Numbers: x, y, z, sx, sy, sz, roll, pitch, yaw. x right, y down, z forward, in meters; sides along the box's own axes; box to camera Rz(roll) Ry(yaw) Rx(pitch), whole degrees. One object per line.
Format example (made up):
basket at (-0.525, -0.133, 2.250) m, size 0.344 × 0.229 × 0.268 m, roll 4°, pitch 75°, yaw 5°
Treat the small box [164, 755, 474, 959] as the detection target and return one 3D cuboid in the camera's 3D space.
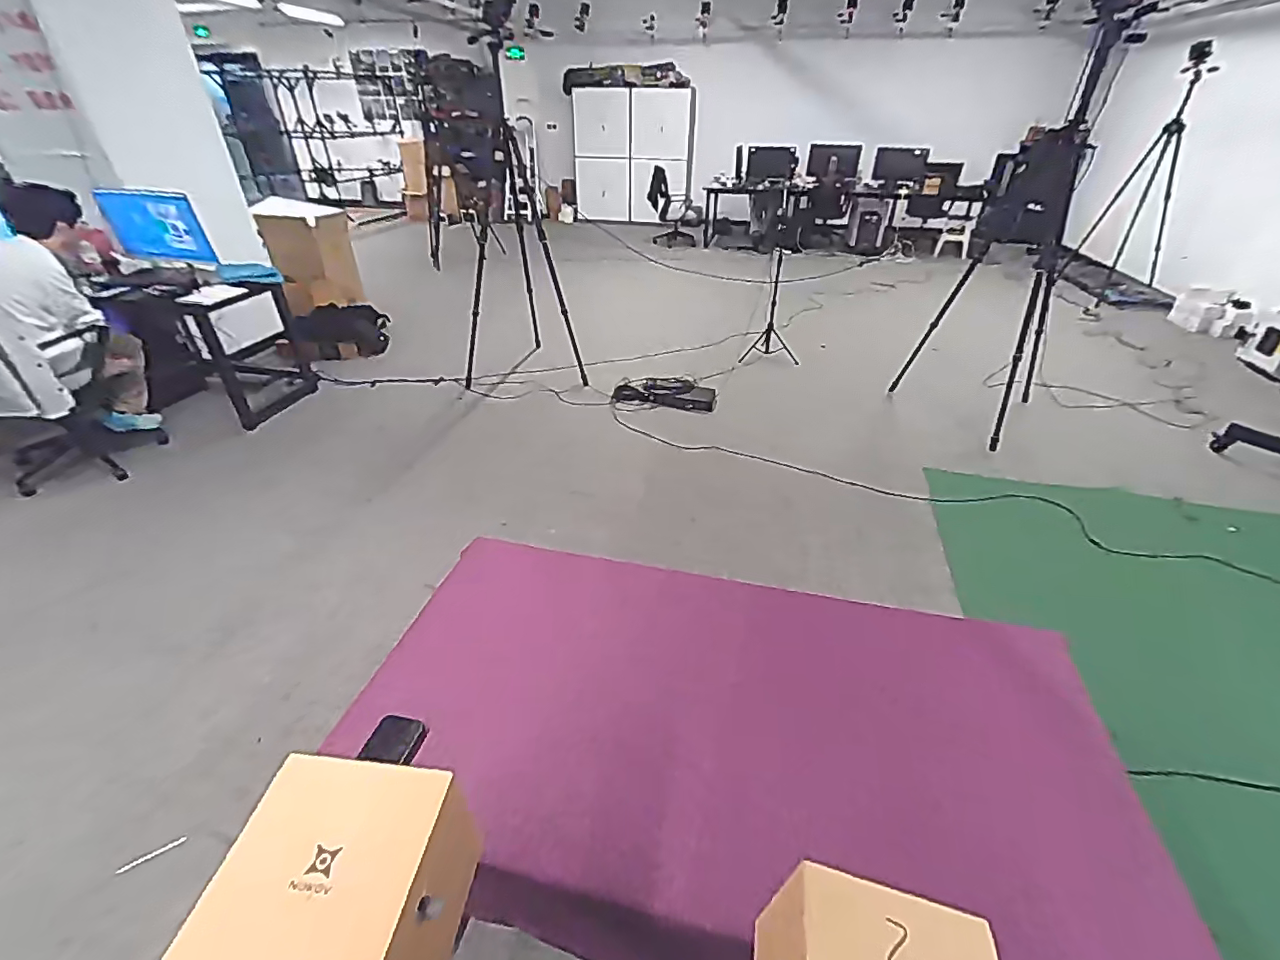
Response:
small box at (-0.263, 0.386, 0.492) m, size 0.168 × 0.176 × 0.179 m, roll 5°, pitch 37°, yaw 4°
